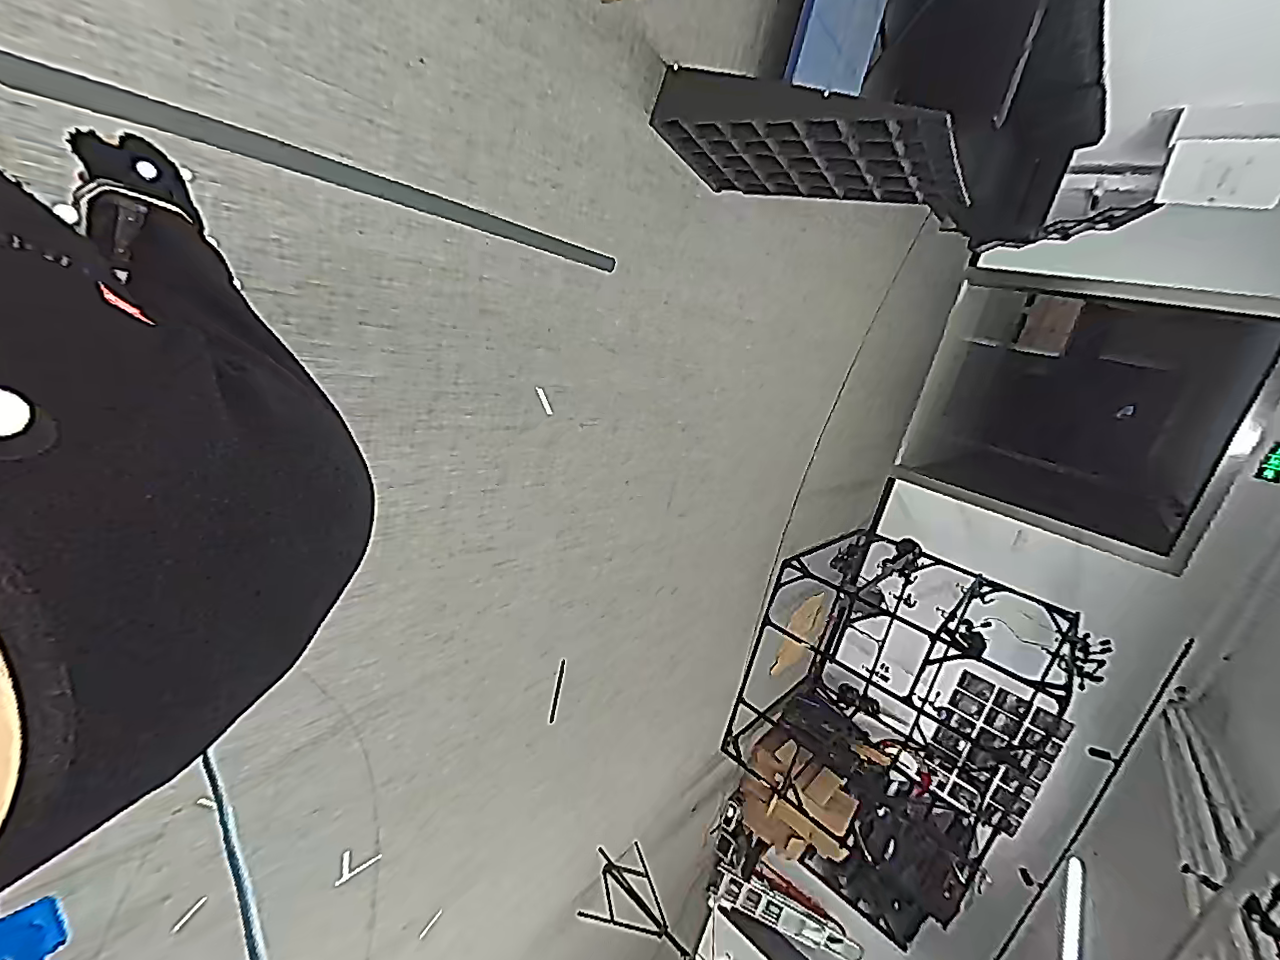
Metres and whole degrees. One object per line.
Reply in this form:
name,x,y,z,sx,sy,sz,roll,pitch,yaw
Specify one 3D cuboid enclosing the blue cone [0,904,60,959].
blue cone,-1.421,1.198,1.207,0.192,0.380,0.193,-12,120,-50
